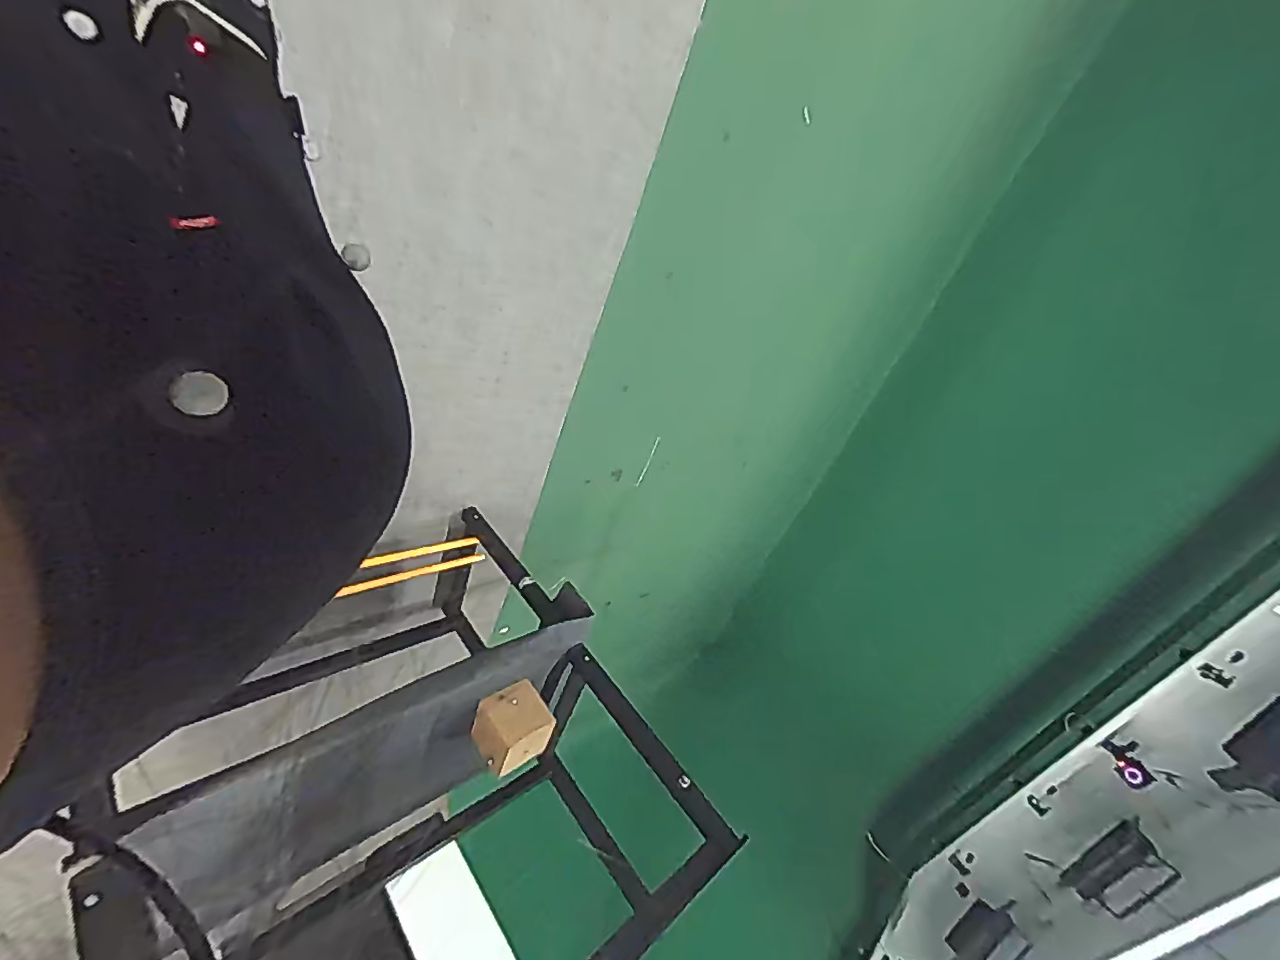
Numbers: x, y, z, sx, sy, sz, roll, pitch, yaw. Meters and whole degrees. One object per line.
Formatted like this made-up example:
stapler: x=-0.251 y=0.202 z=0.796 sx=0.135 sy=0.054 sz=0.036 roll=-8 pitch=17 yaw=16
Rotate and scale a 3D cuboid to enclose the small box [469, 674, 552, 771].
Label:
small box: x=-0.398 y=0.725 z=1.634 sx=0.168 sy=0.176 sz=0.179 roll=-14 pitch=136 yaw=-45
